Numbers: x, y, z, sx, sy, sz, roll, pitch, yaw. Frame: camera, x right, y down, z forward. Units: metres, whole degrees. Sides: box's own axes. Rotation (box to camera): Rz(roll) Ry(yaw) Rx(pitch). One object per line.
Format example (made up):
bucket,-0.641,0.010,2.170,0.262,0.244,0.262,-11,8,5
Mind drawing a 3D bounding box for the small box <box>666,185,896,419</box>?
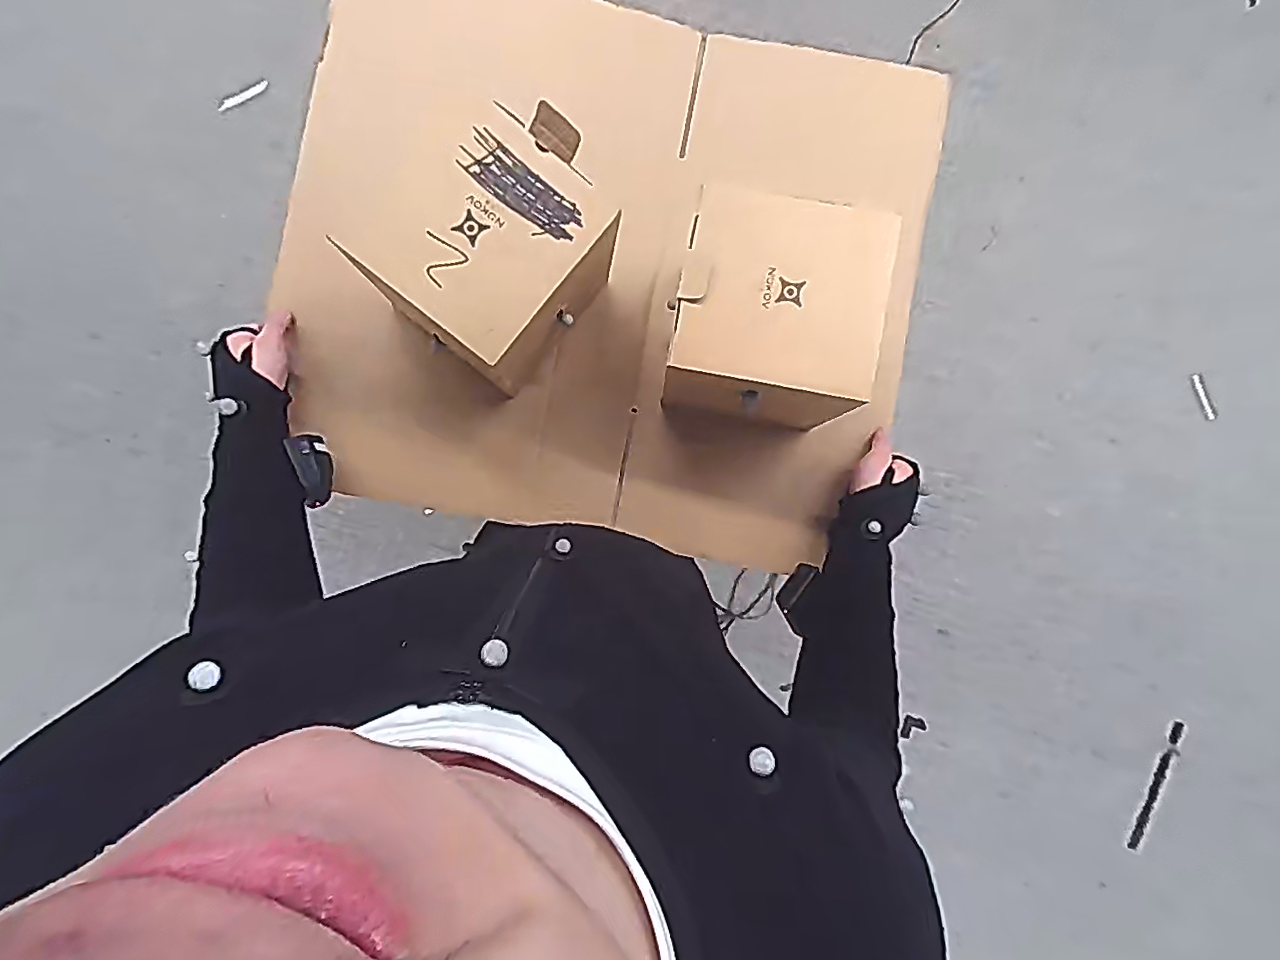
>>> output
small box,0.128,-0.164,0.554,0.179,0.176,0.168,11,88,2
